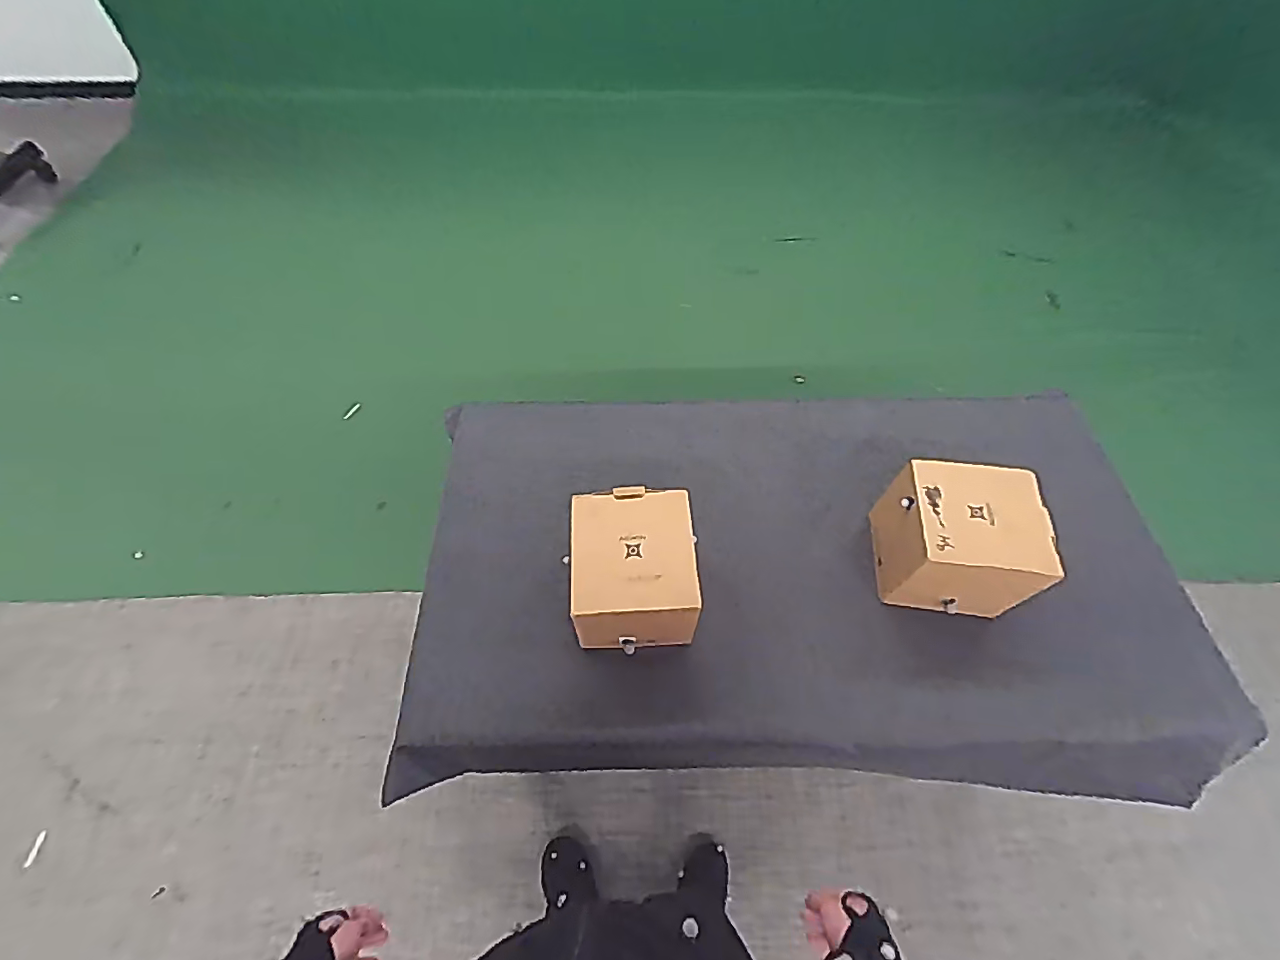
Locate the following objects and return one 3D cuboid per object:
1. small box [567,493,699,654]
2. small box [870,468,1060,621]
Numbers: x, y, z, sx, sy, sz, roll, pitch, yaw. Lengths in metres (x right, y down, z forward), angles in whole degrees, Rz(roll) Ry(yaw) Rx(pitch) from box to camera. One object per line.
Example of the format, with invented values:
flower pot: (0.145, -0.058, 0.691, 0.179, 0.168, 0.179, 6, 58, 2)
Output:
small box: (-0.009, 0.135, 0.769, 0.168, 0.176, 0.179, -2, 58, 0)
small box: (0.470, 0.103, 0.815, 0.179, 0.176, 0.168, 7, 58, 3)
